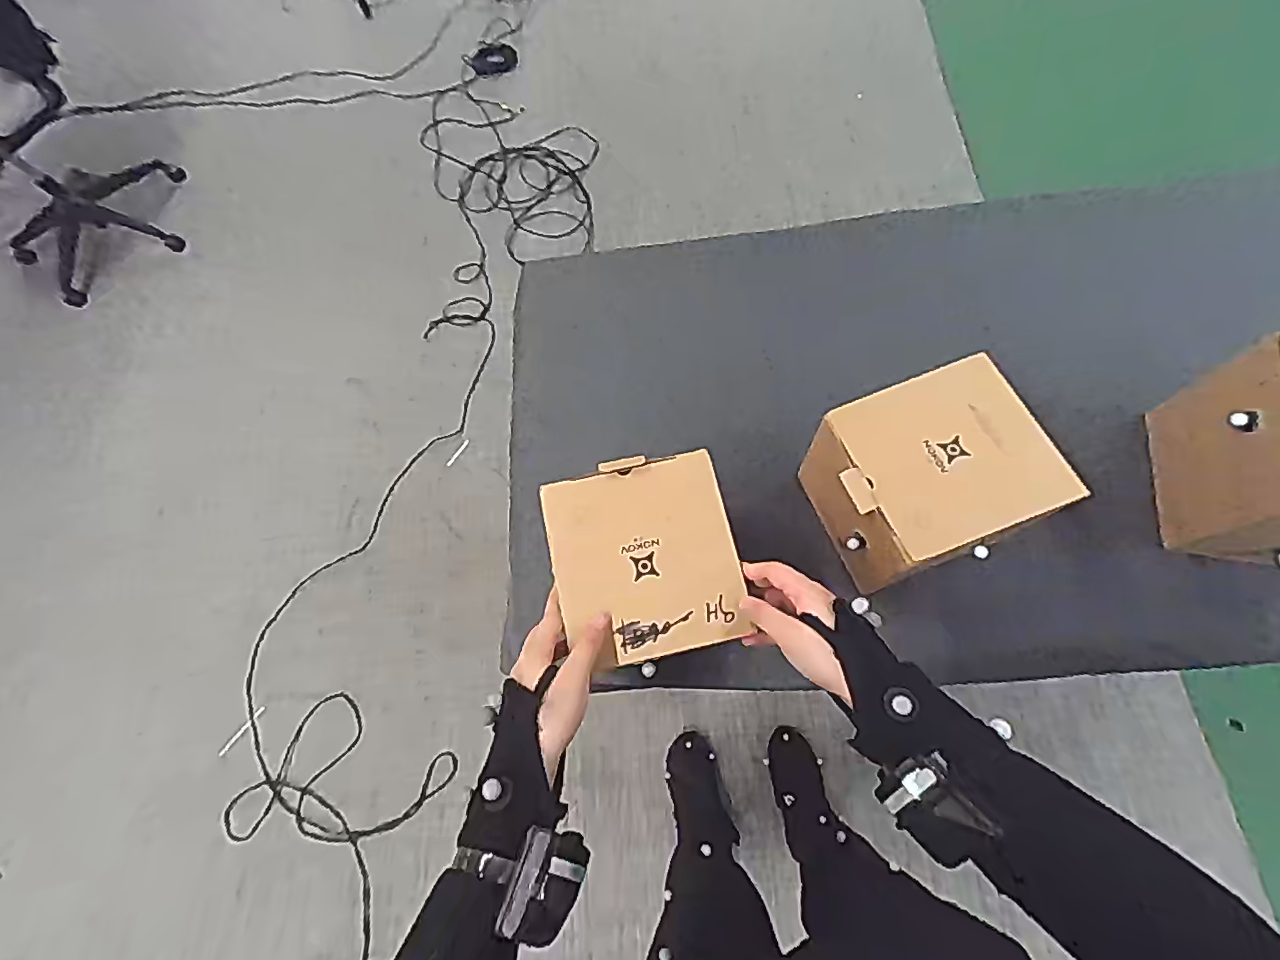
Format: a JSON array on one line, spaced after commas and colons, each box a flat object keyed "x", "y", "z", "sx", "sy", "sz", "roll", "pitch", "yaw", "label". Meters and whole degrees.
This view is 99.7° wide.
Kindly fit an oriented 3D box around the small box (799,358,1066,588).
[{"x": 0.289, "y": 0.005, "z": 0.591, "sx": 0.179, "sy": 0.176, "sz": 0.168, "roll": -22, "pitch": 69, "yaw": -2, "label": "small box"}]
